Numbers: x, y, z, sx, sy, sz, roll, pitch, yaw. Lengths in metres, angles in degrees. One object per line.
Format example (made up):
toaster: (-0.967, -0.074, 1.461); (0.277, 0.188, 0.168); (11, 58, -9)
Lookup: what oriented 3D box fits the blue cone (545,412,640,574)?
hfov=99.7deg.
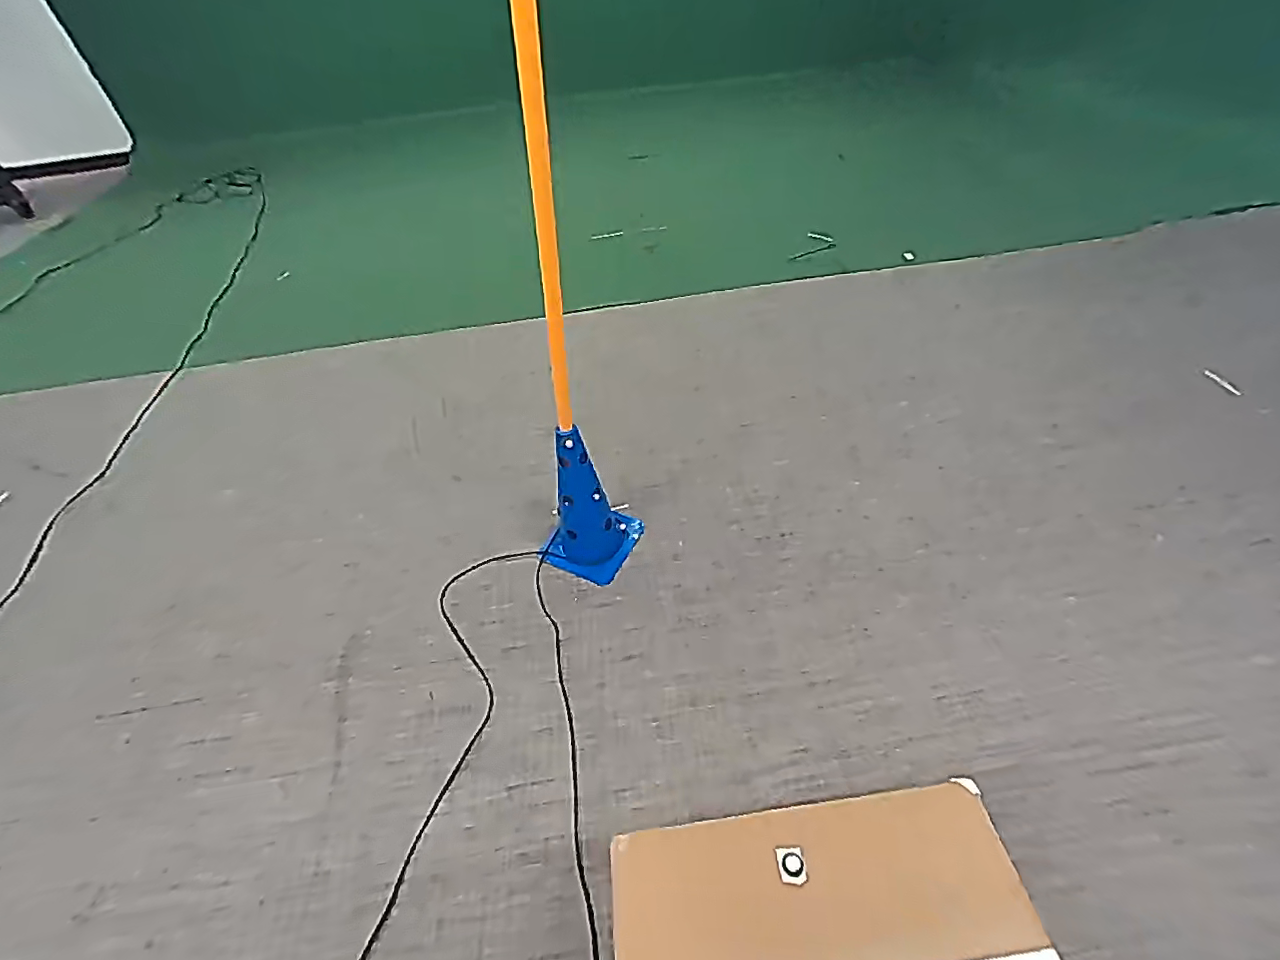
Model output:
blue cone: (-0.122, 0.011, 1.150); (0.192, 0.380, 0.193); (17, 49, 20)
